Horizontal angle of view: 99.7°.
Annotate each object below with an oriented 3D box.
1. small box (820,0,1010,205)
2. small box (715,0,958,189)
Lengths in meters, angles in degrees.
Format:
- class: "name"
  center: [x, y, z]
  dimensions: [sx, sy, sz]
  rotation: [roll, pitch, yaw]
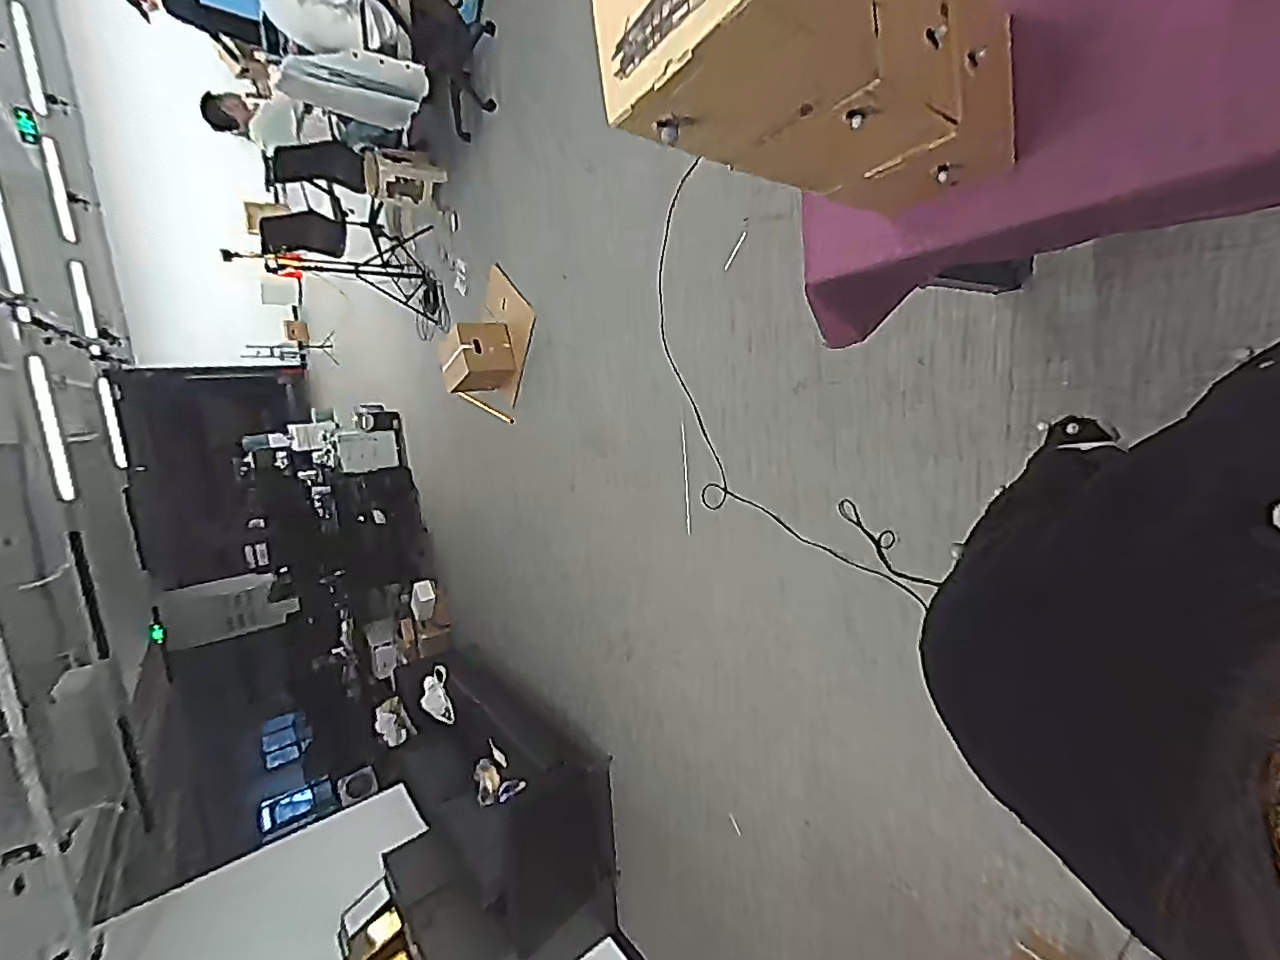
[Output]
- class: "small box"
  center: [0.334, -0.458, 0.665]
  dimensions: [0.168, 0.176, 0.179]
  rotation: [2, 100, 51]
- class: "small box"
  center: [0.205, -0.434, 0.570]
  dimensions: [0.179, 0.176, 0.168]
  rotation: [-1, 98, 51]
